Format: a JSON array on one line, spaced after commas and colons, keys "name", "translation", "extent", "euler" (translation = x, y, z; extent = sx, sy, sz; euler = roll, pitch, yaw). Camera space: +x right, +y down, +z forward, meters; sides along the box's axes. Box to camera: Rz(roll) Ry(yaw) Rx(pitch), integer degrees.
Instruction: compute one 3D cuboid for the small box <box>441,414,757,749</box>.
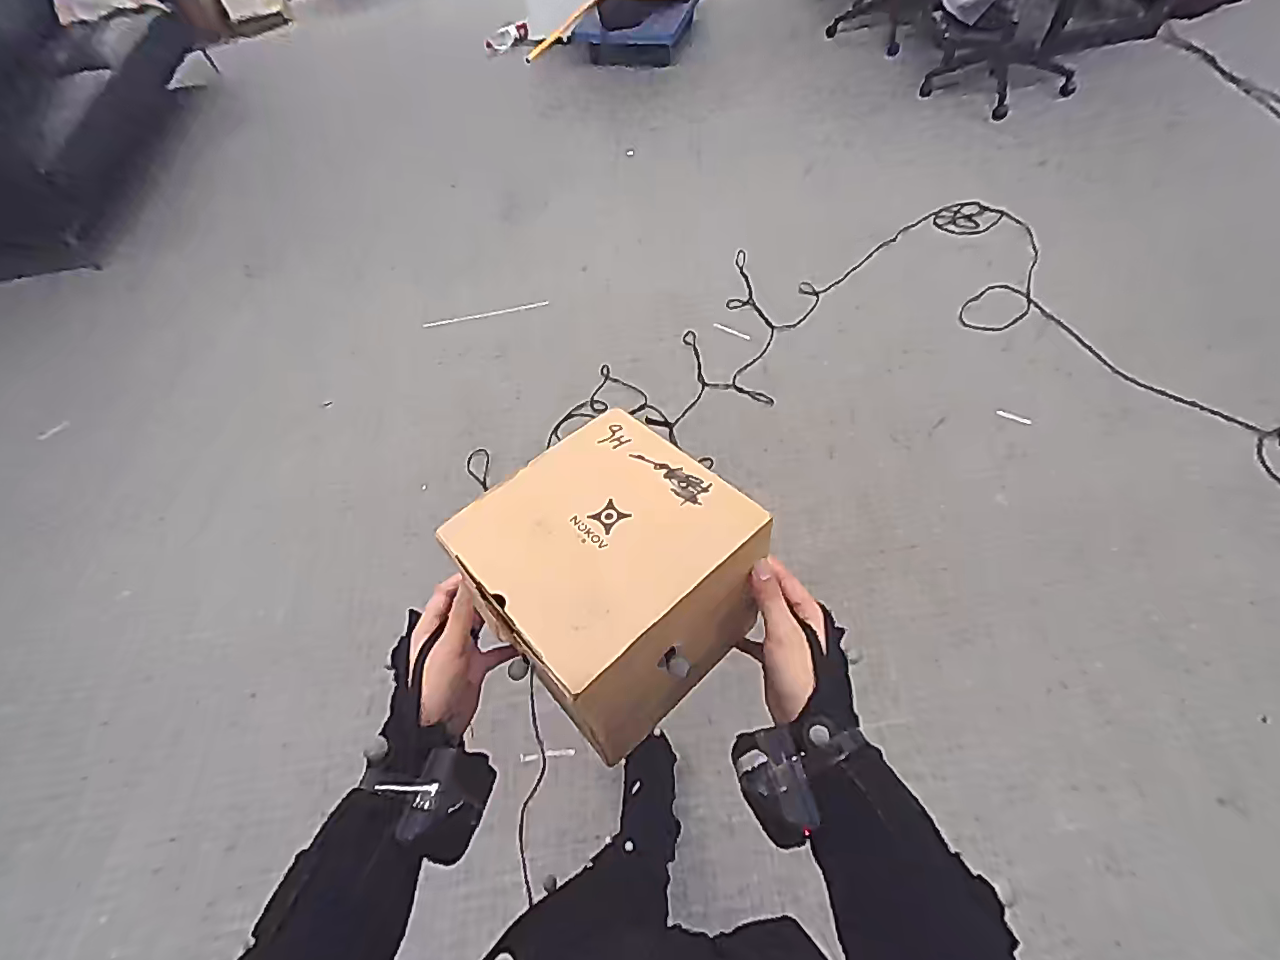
[{"name": "small box", "translation": [-0.022, 0.085, 0.446], "extent": [0.179, 0.176, 0.168], "euler": [-38, 56, -22]}]
